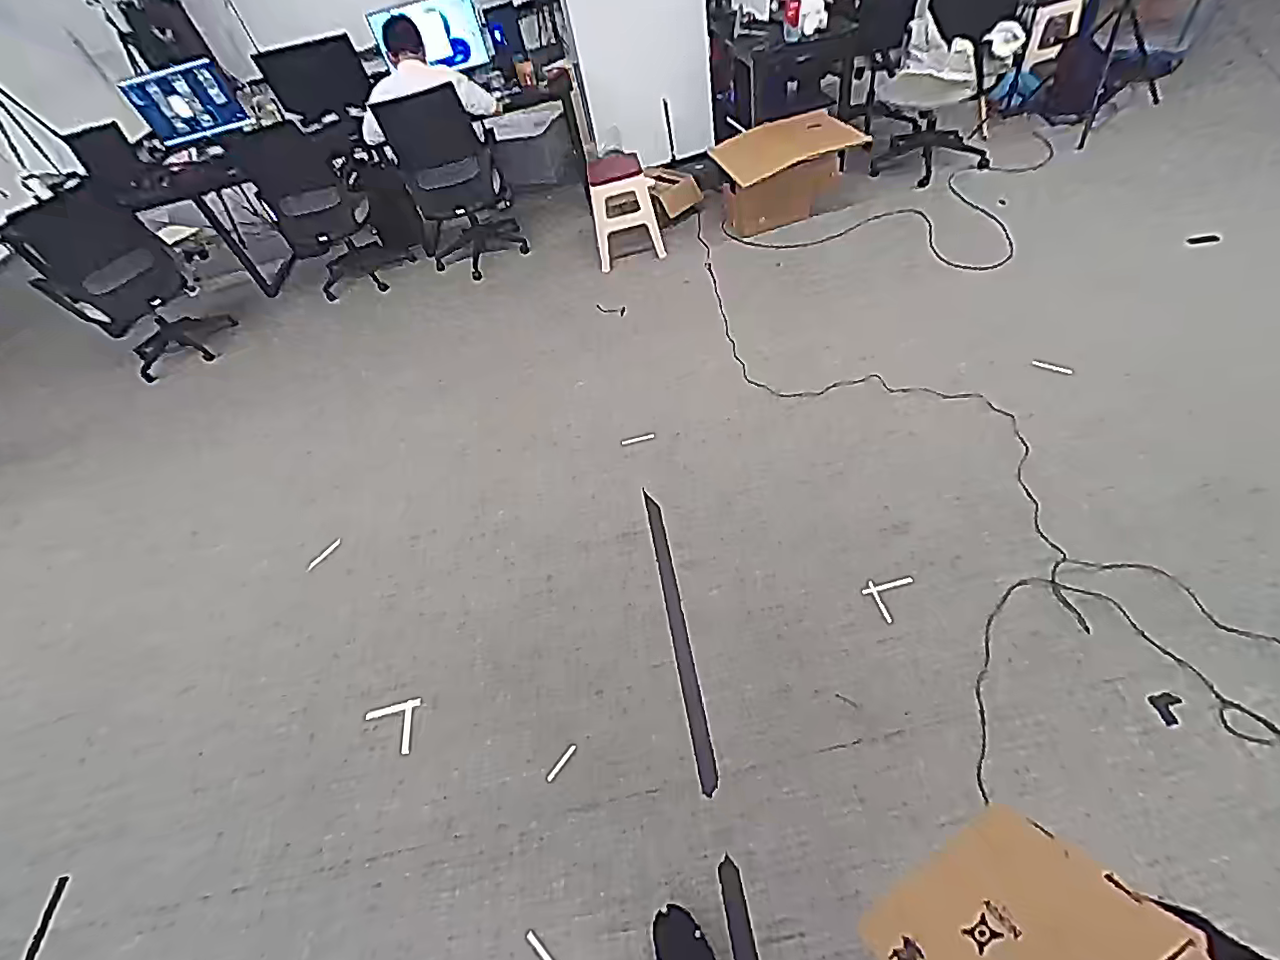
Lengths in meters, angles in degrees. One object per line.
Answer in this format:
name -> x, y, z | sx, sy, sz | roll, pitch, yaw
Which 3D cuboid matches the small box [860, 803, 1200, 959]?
small box -> 0.318, 0.411, 0.417 | 0.179, 0.168, 0.176 | -35, 88, -5
